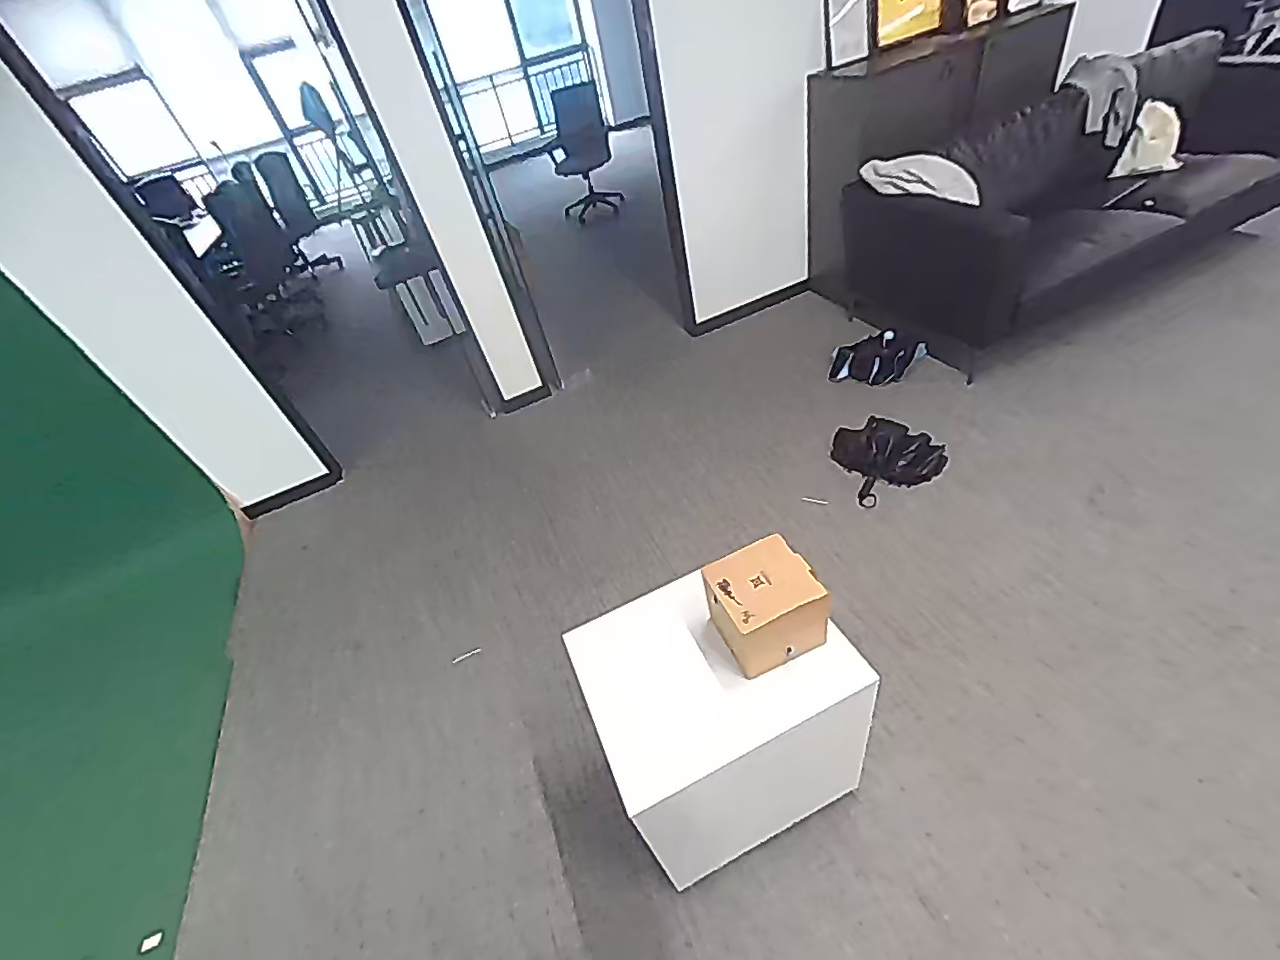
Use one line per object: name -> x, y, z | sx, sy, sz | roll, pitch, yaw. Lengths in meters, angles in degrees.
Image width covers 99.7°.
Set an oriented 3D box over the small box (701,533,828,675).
small box -> 0.234, 0.239, 1.039 | 0.179, 0.176, 0.168 | -22, 43, -9
